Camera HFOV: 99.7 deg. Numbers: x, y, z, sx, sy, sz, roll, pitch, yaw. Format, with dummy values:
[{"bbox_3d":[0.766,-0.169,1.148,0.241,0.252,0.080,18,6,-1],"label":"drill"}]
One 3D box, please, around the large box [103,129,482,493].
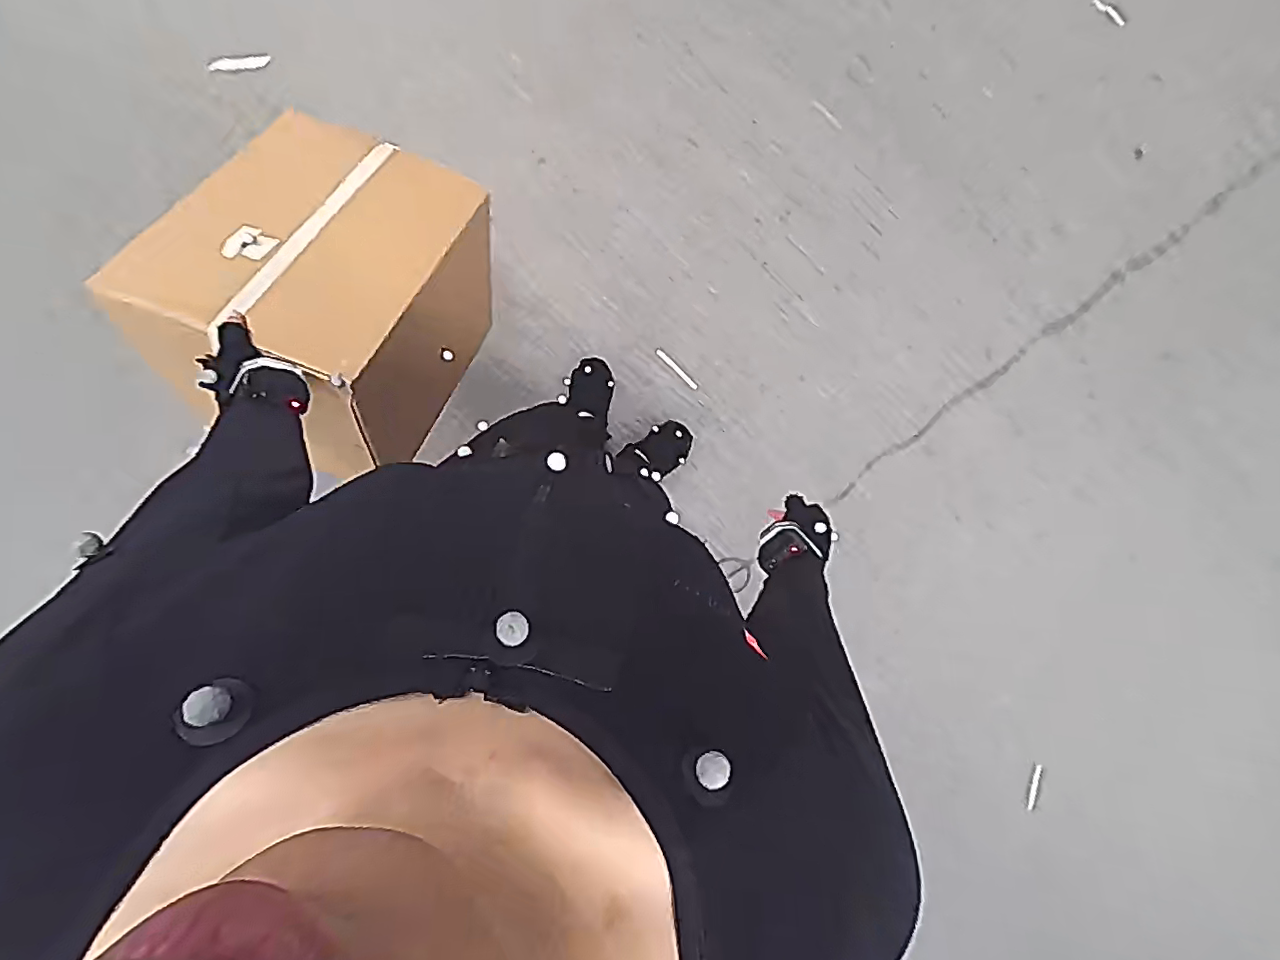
[{"bbox_3d":[-0.472,-0.253,0.866,0.320,0.320,0.408,19,62,-4],"label":"large box"}]
